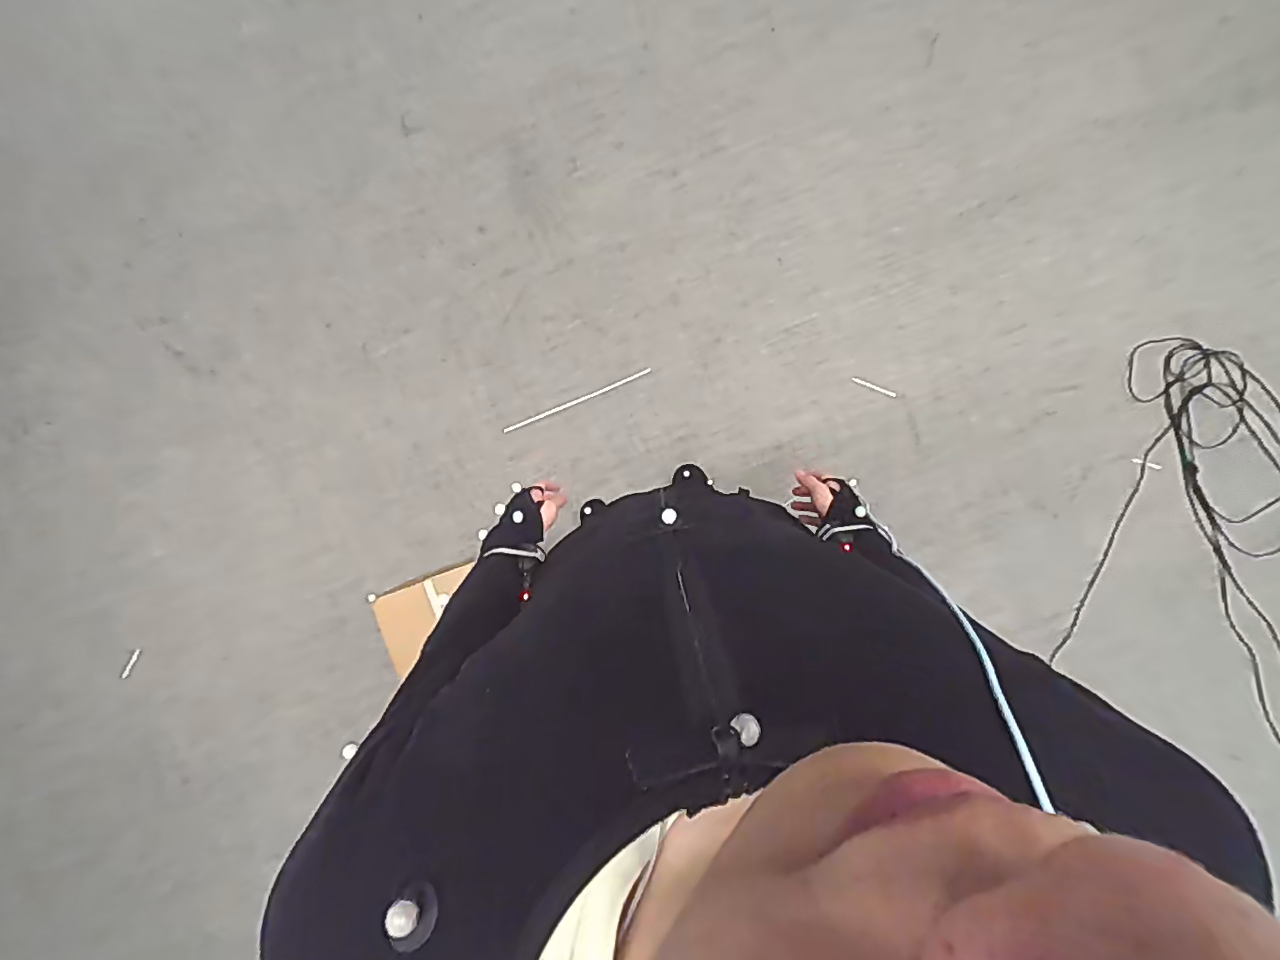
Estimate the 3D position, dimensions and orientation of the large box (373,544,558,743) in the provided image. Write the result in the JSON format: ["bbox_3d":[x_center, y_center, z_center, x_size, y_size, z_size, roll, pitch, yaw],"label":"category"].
[{"bbox_3d":[-0.461,0.430,1.509,0.320,0.320,0.408,-21,90,-1],"label":"large box"}]
